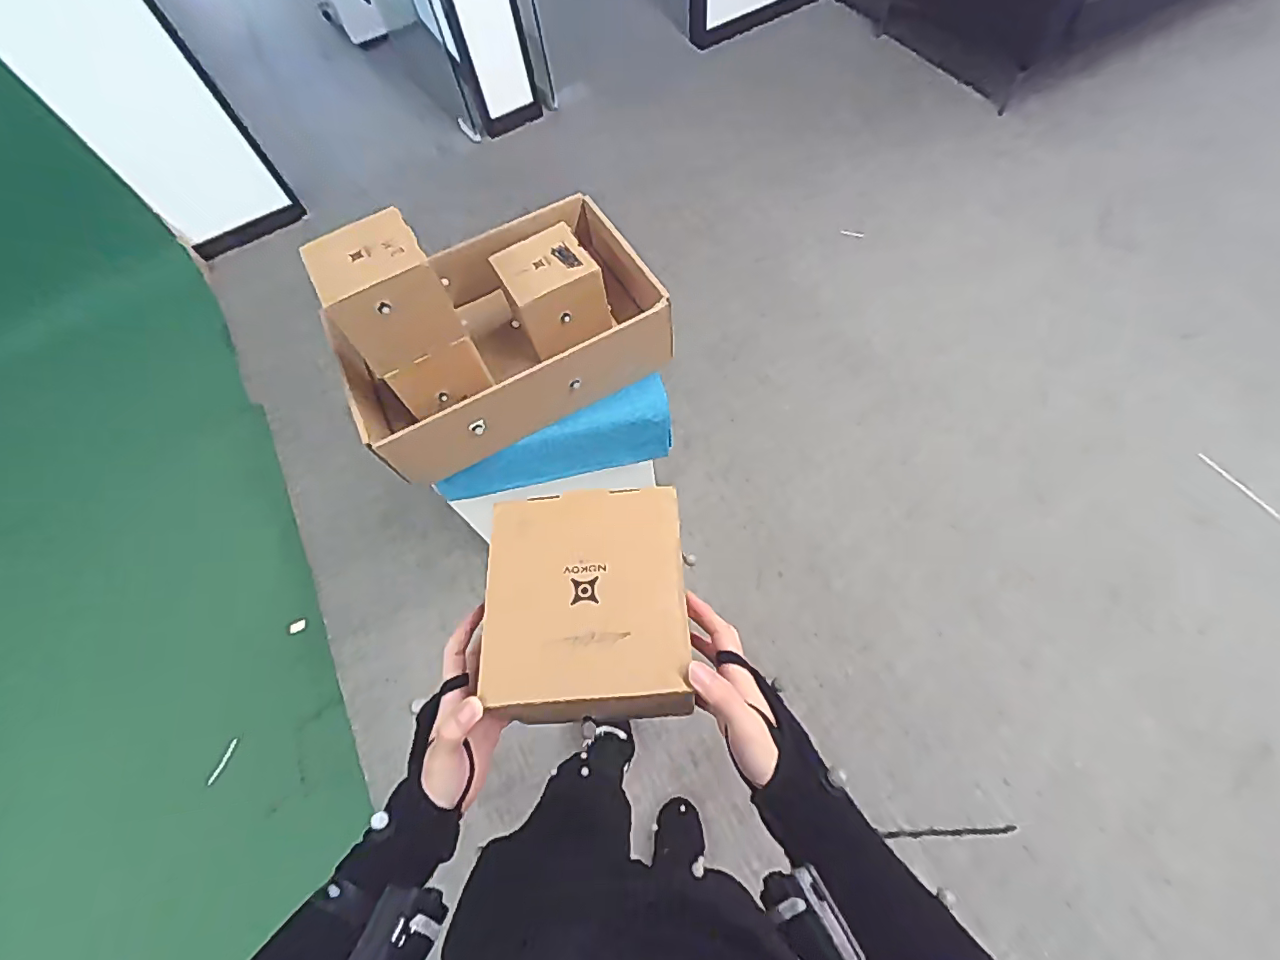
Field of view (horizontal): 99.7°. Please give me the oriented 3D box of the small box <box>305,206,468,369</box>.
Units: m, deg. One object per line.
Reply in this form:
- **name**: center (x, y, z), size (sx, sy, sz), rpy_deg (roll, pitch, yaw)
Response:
- **small box**: center (-0.431, -0.326, 0.936), size (0.179, 0.176, 0.168), rpy_deg (-29, 64, -10)
